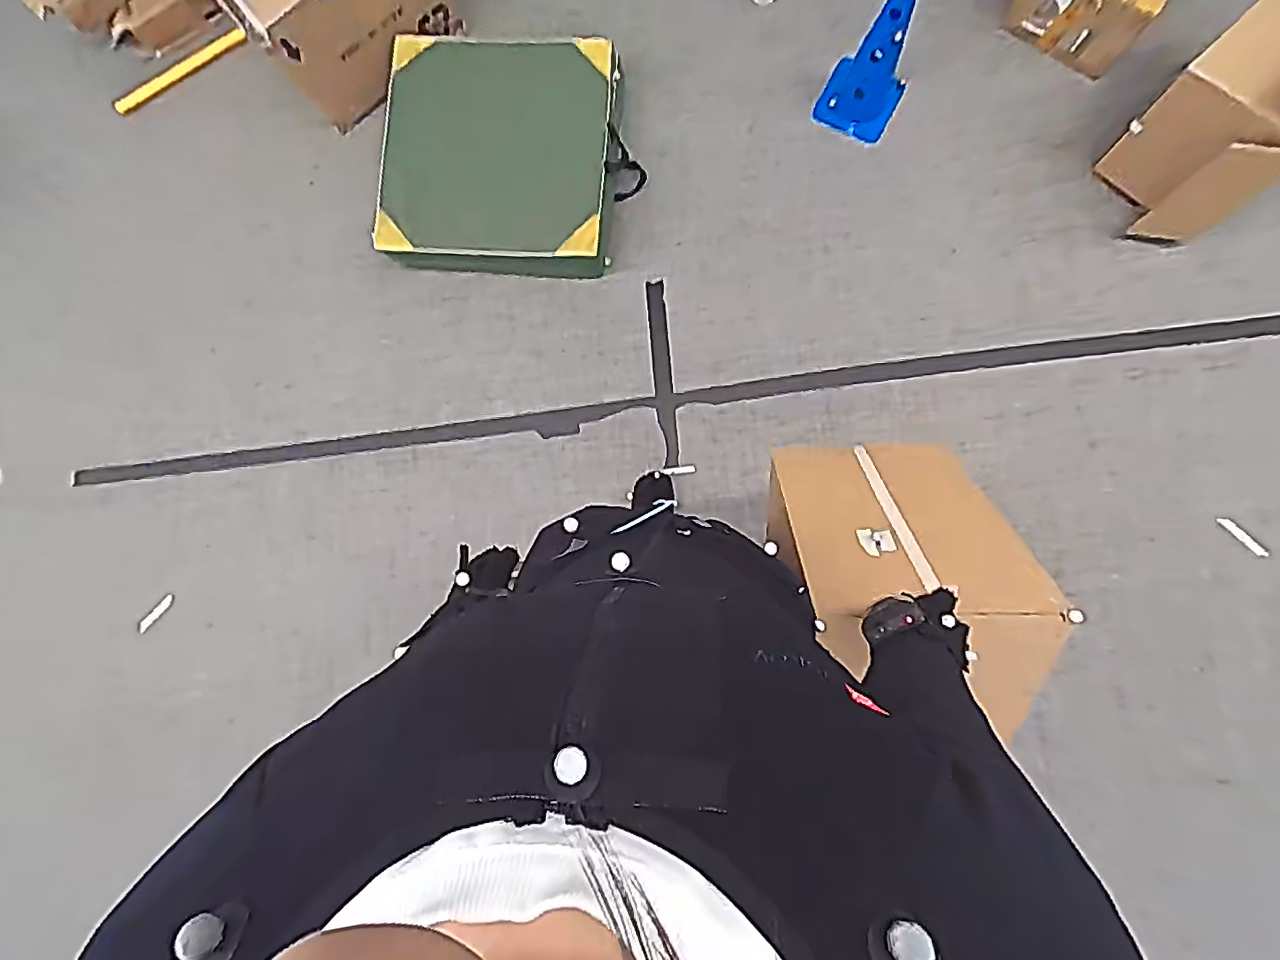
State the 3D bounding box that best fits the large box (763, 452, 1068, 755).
[{"bbox_3d":[0.393,0.187,0.915,0.320,0.408,0.320,-2,125,7],"label":"large box"}]
